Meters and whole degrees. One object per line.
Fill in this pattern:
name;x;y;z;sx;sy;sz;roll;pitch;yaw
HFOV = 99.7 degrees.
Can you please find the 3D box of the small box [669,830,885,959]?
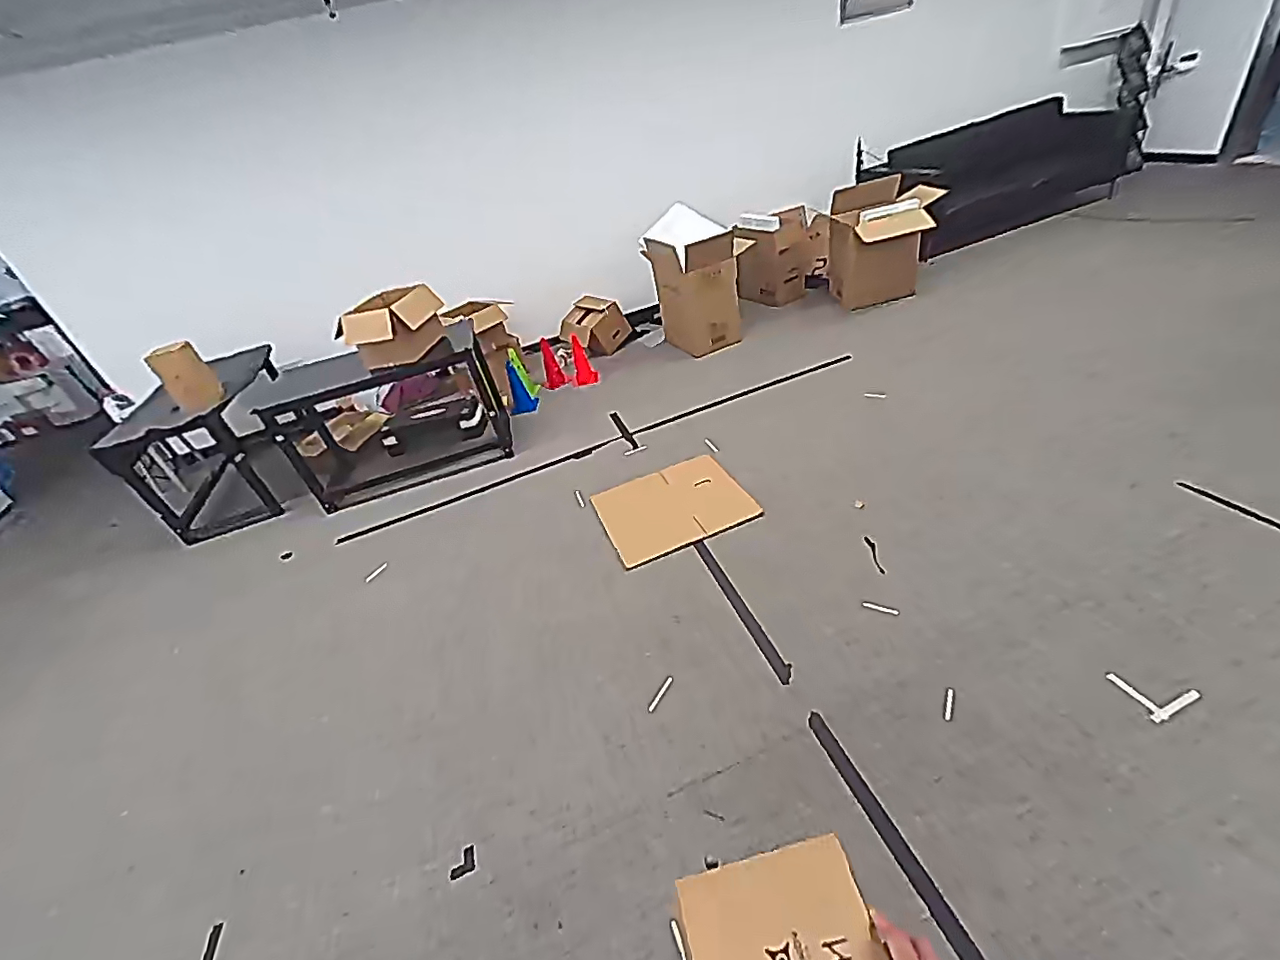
small box;0.135;0.488;0.548;0.179;0.176;0.168;-12;47;-8
